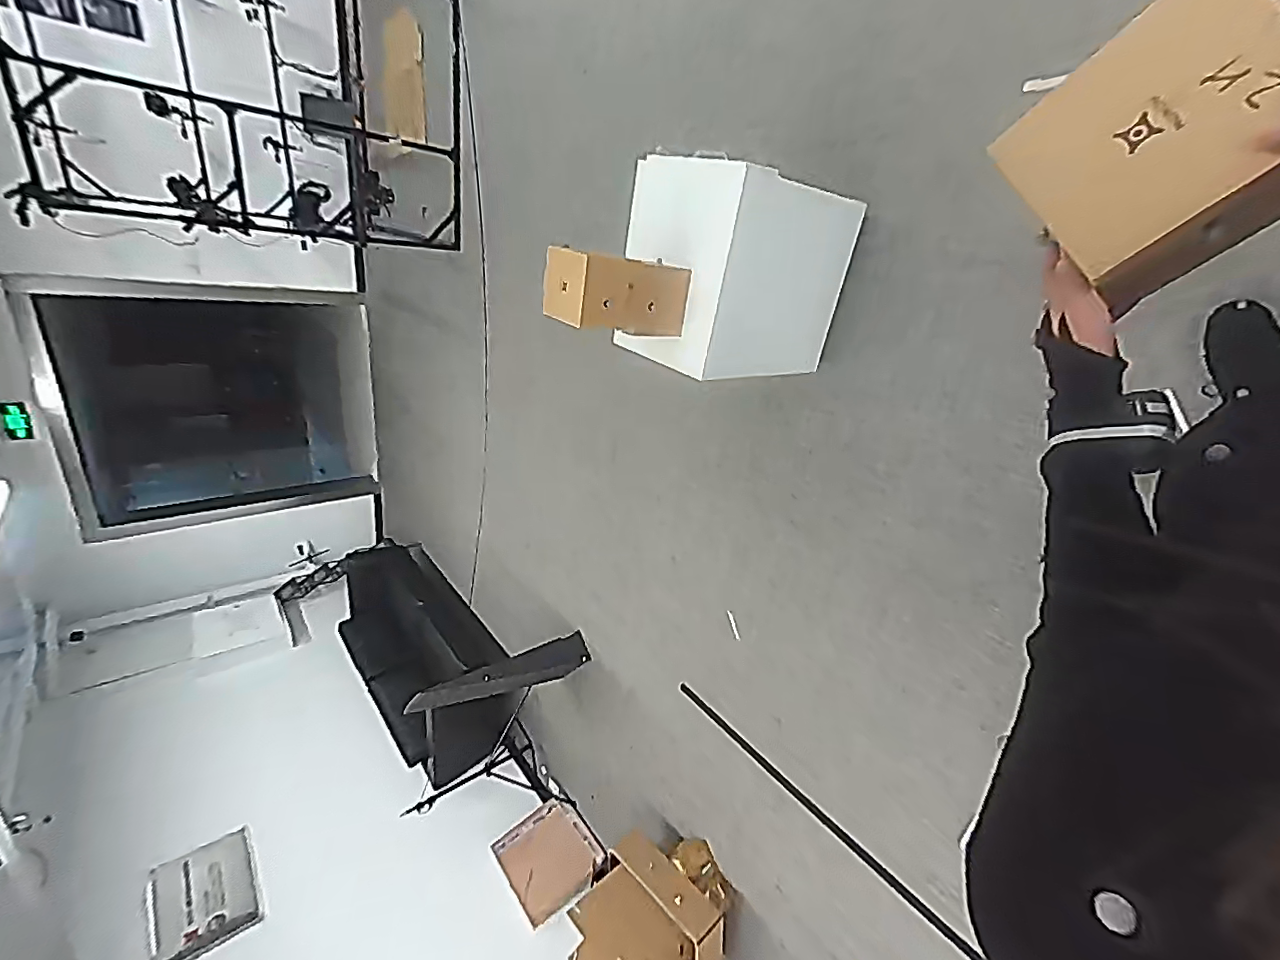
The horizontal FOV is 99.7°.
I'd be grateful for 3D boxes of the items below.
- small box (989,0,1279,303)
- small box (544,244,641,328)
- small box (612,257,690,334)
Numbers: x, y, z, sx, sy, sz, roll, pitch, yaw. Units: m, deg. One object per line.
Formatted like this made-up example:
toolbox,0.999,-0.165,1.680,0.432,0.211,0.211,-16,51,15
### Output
small box,0.463,-0.285,0.482,0.179,0.176,0.168,-38,66,40
small box,-0.119,-0.480,1.339,0.179,0.176,0.168,34,124,42
small box,0.011,-0.491,1.437,0.168,0.176,0.179,32,122,42
